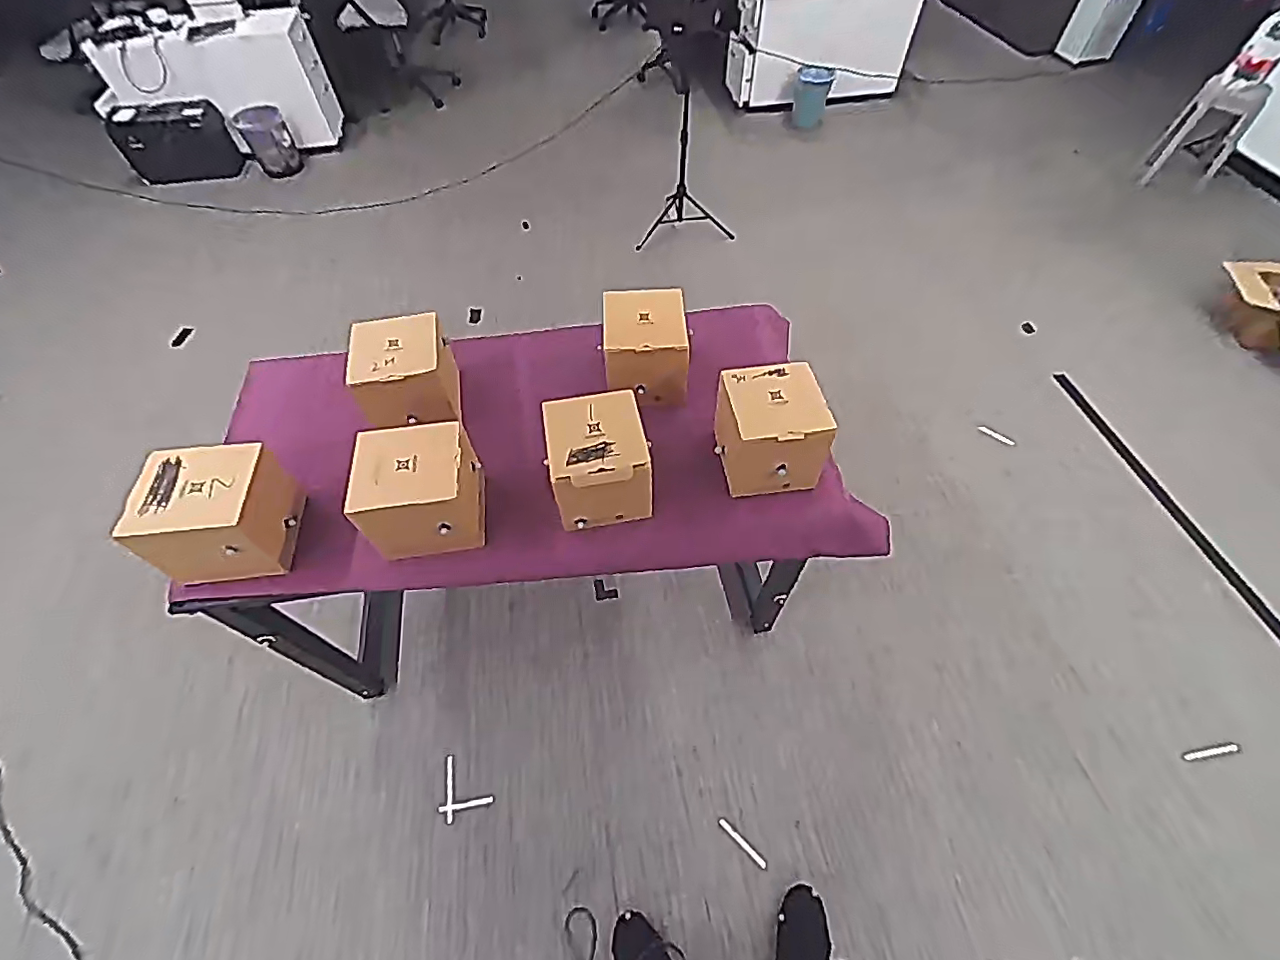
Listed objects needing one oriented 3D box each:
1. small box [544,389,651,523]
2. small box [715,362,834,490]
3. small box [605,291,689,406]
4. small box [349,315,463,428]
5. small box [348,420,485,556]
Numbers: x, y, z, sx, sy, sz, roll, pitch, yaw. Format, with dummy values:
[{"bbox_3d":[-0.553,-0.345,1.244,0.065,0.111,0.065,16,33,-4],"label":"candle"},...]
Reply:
[{"bbox_3d":[-0.075,-0.035,0.982,0.168,0.176,0.179,-9,55,-5],"label":"small box"},{"bbox_3d":[0.241,-0.094,1.014,0.168,0.176,0.179,-6,54,-3],"label":"small box"},{"bbox_3d":[0.011,-0.276,1.151,0.168,0.176,0.179,-3,57,0],"label":"small box"},{"bbox_3d":[-0.471,-0.209,1.113,0.168,0.176,0.179,-11,56,-6],"label":"small box"},{"bbox_3d":[-0.377,0.018,0.951,0.179,0.176,0.168,-8,55,-4],"label":"small box"}]
